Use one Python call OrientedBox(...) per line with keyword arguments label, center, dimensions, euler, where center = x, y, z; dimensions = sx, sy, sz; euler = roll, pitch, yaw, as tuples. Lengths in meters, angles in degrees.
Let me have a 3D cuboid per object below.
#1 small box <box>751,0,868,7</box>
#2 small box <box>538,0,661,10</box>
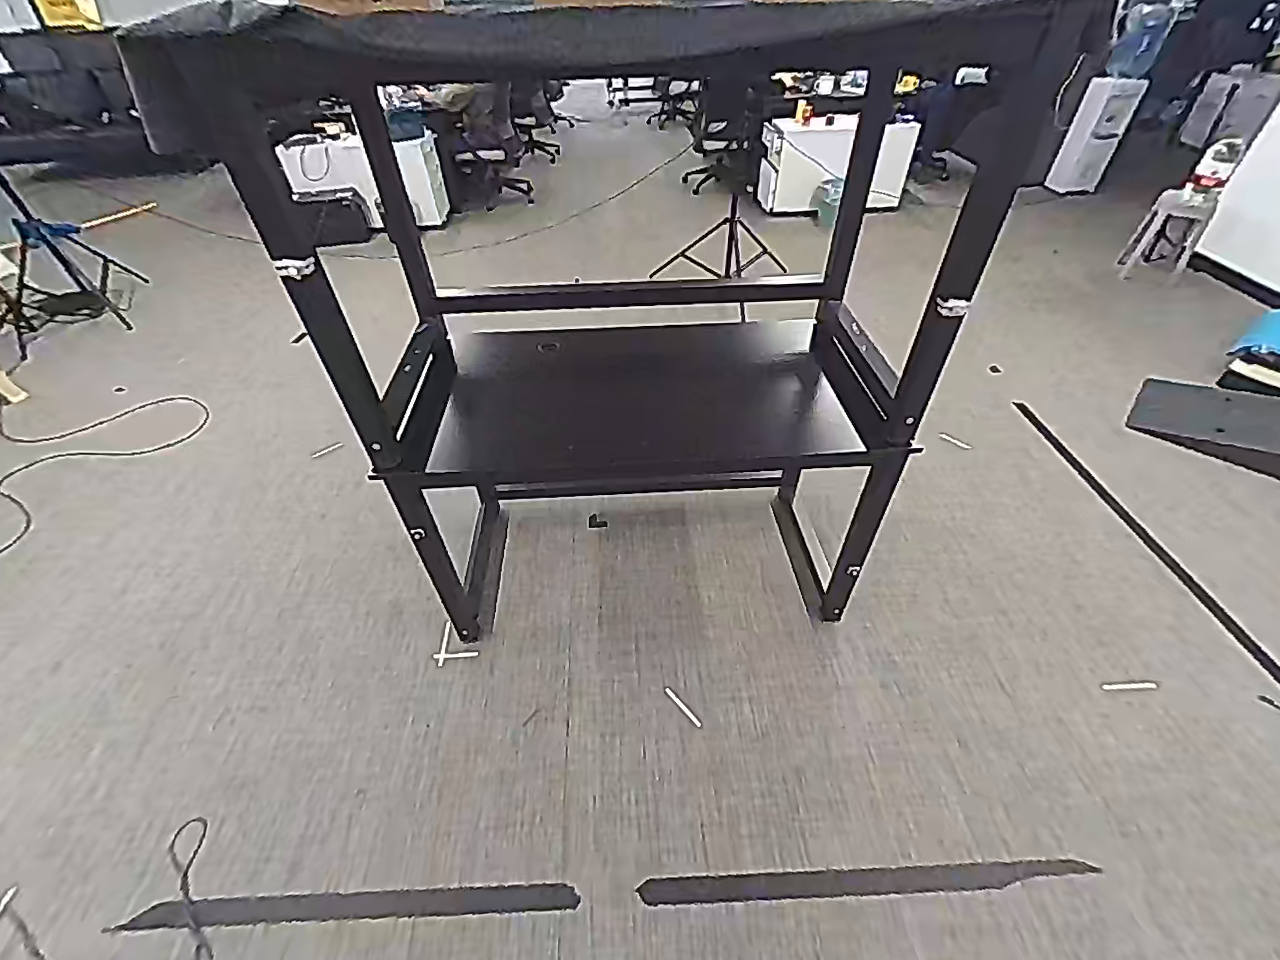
OrientedBox(label="small box", center=(0.244, -0.743, 0.714), dimensions=(0.168, 0.176, 0.179), euler=(0, 42, 2))
OrientedBox(label="small box", center=(-0.055, -0.727, 0.705), dimensions=(0.168, 0.176, 0.179), euler=(-2, 41, 0))
